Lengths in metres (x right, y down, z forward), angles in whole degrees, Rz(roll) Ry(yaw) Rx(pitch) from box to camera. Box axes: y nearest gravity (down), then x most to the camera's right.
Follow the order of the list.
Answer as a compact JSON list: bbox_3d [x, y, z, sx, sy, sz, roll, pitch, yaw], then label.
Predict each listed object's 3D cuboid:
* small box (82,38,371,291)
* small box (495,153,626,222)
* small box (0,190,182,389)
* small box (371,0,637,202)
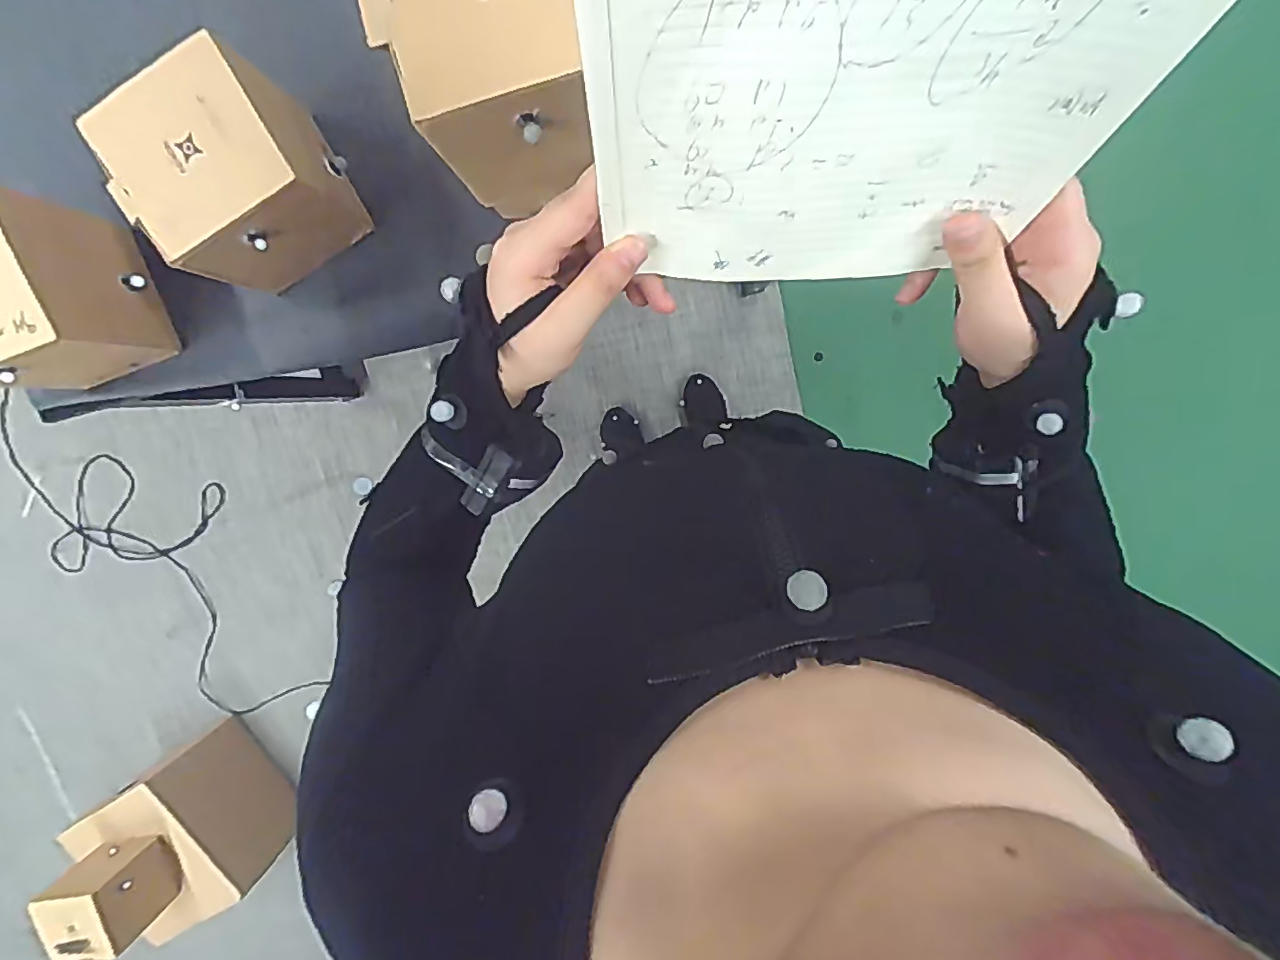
[{"bbox_3d":[-0.468,-0.349,0.643,0.179,0.176,0.168,-29,97,6],"label":"small box"},{"bbox_3d":[-0.104,-0.415,0.615,0.168,0.176,0.179,2,99,3],"label":"small box"},{"bbox_3d":[-0.742,-0.221,0.674,0.168,0.176,0.179,-19,97,5],"label":"small box"},{"bbox_3d":[-0.103,-0.368,0.458,0.179,0.176,0.168,-14,97,5],"label":"small box"}]
